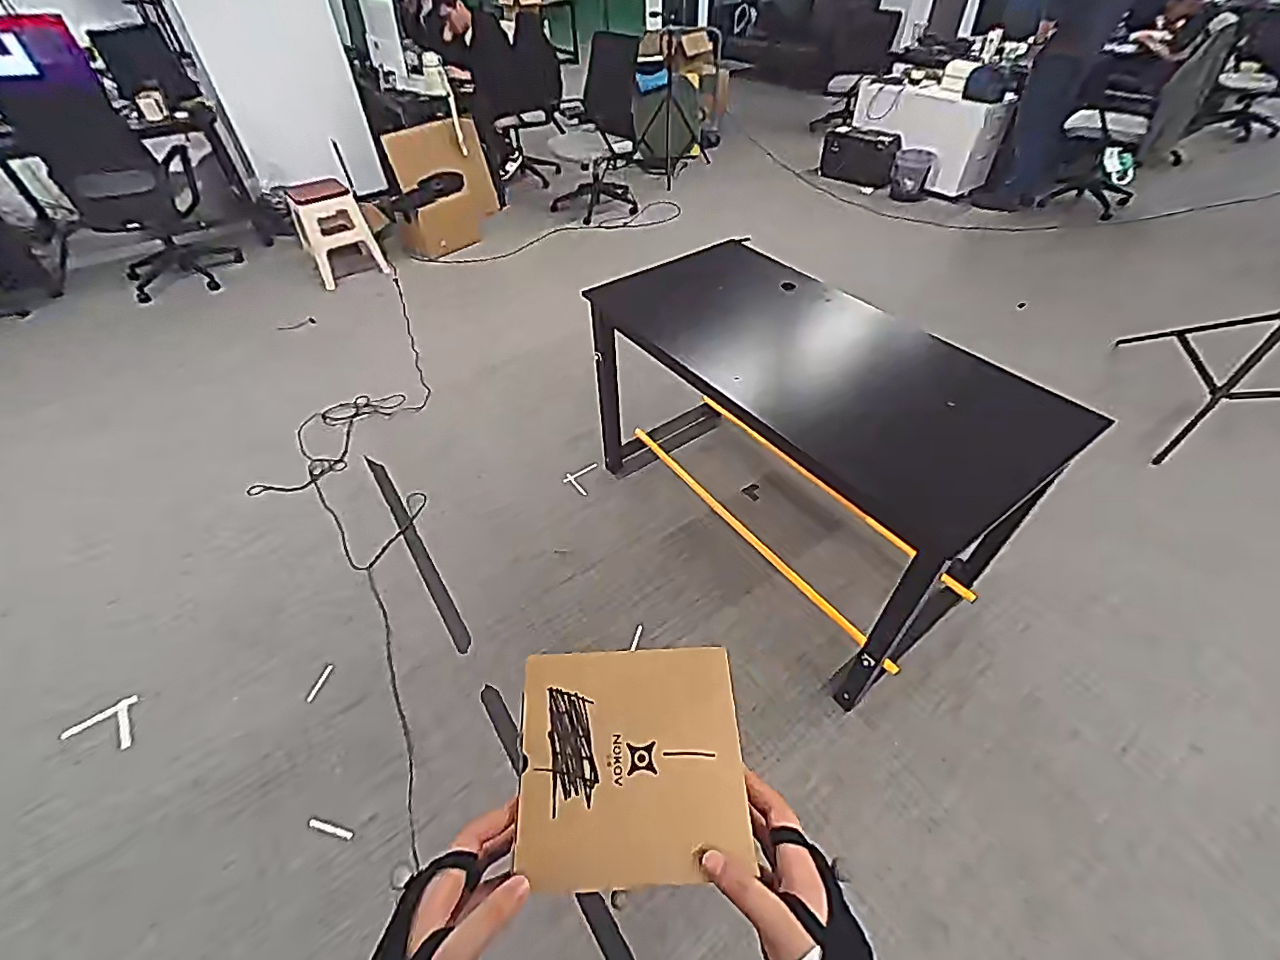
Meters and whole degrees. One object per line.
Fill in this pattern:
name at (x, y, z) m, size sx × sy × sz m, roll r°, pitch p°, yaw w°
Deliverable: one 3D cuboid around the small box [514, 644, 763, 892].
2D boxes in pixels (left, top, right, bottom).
small box at (-0.007, 0.256, 0.480) m, size 0.179 × 0.176 × 0.168 m, roll -2°, pitch 56°, yaw -4°
